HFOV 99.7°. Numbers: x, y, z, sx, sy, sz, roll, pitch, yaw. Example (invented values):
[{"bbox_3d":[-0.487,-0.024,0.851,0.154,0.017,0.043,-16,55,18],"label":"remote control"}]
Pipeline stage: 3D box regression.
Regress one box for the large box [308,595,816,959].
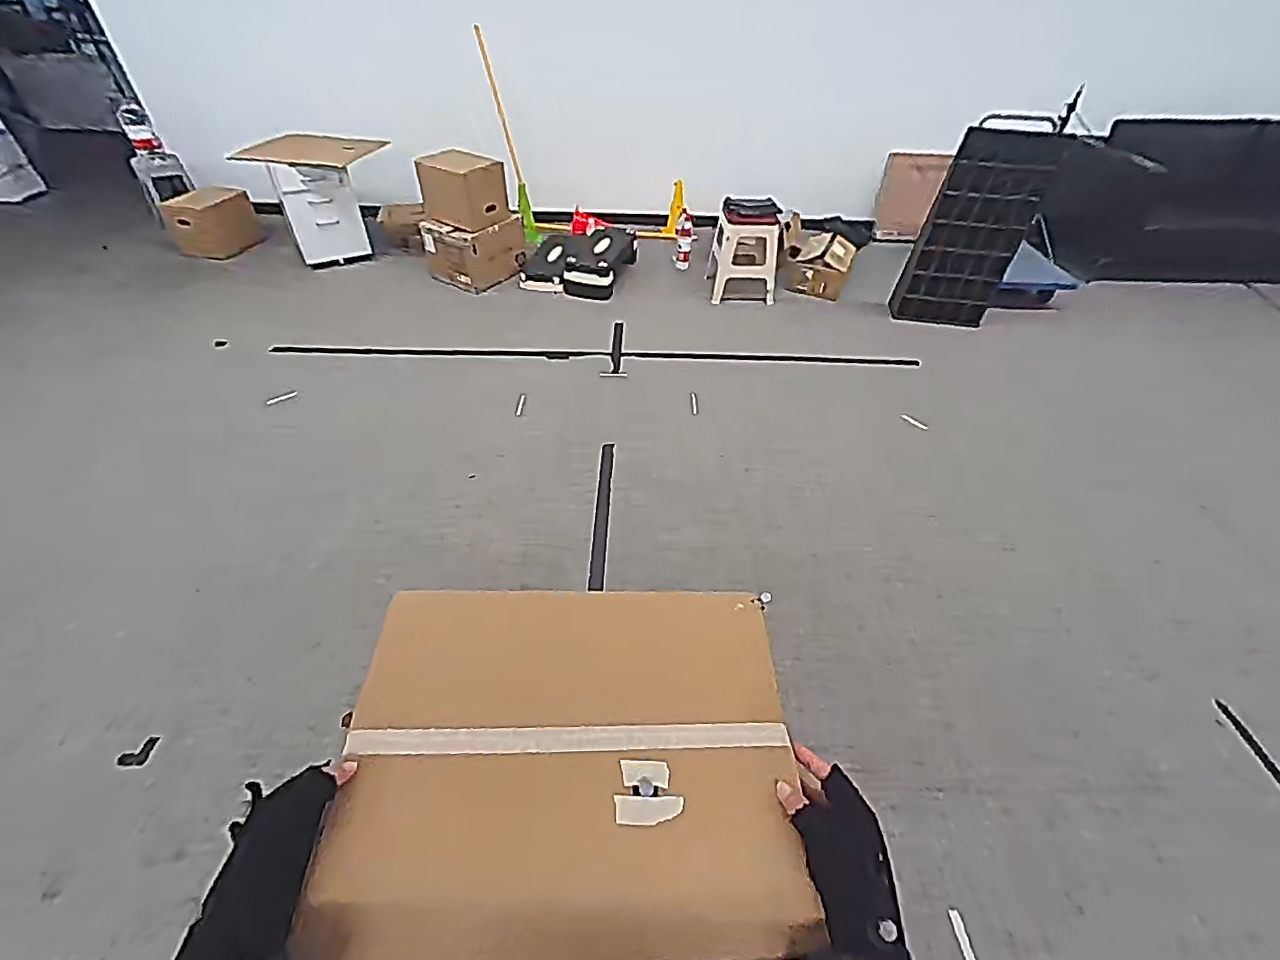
[{"bbox_3d":[-0.070,0.346,0.627,0.408,0.320,0.320,2,48,-4],"label":"large box"}]
